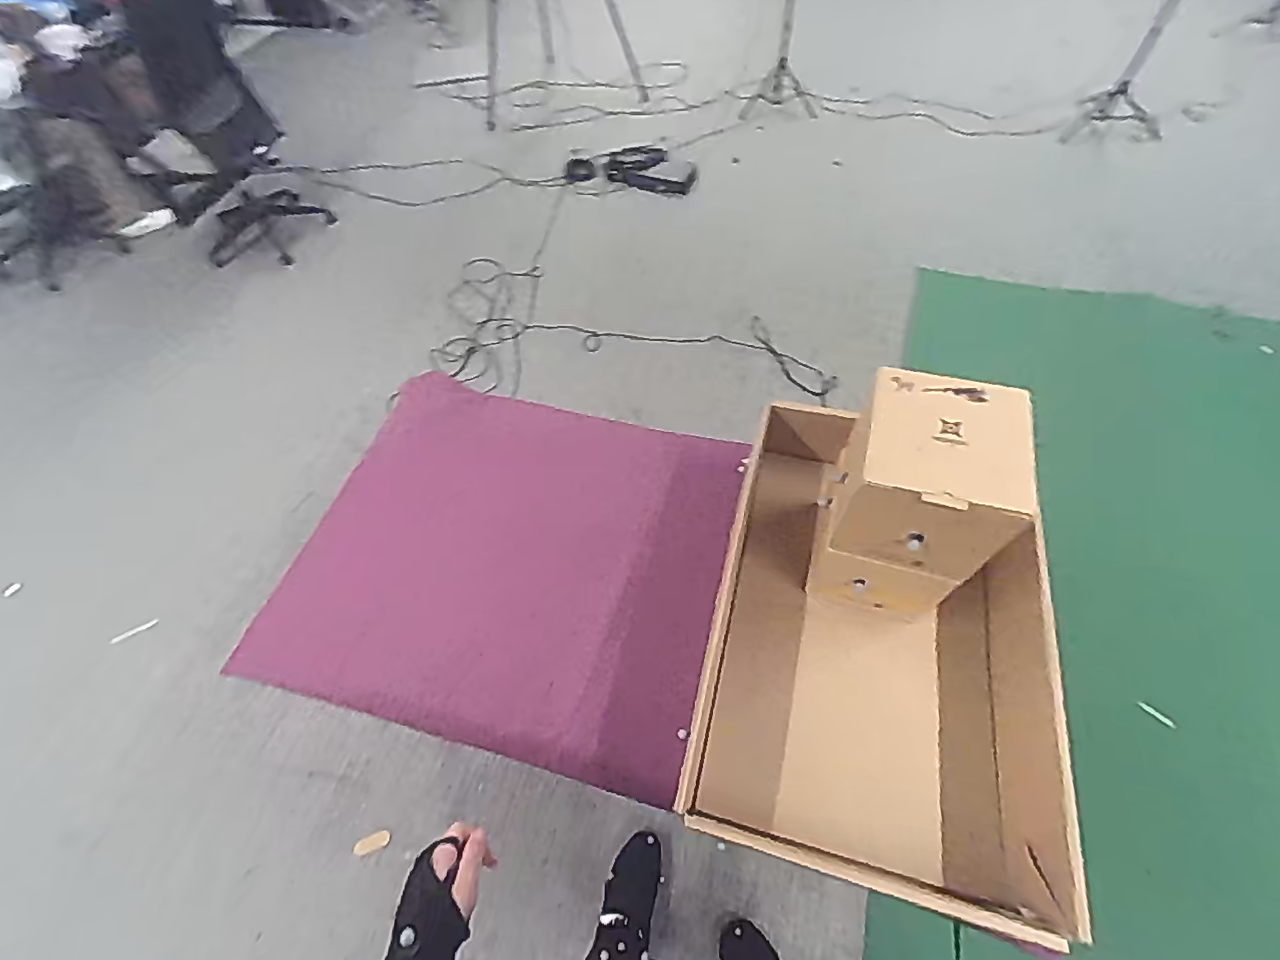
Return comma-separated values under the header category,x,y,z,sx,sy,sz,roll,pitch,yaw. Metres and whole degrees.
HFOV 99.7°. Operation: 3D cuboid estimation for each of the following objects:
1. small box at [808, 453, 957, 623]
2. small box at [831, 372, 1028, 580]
category,x,y,z,sx,sy,sz,roll,pitch,yaw
small box,0.352,0.091,0.798,0.168,0.176,0.179,13,59,14
small box,0.342,0.001,0.661,0.168,0.176,0.179,14,60,14
